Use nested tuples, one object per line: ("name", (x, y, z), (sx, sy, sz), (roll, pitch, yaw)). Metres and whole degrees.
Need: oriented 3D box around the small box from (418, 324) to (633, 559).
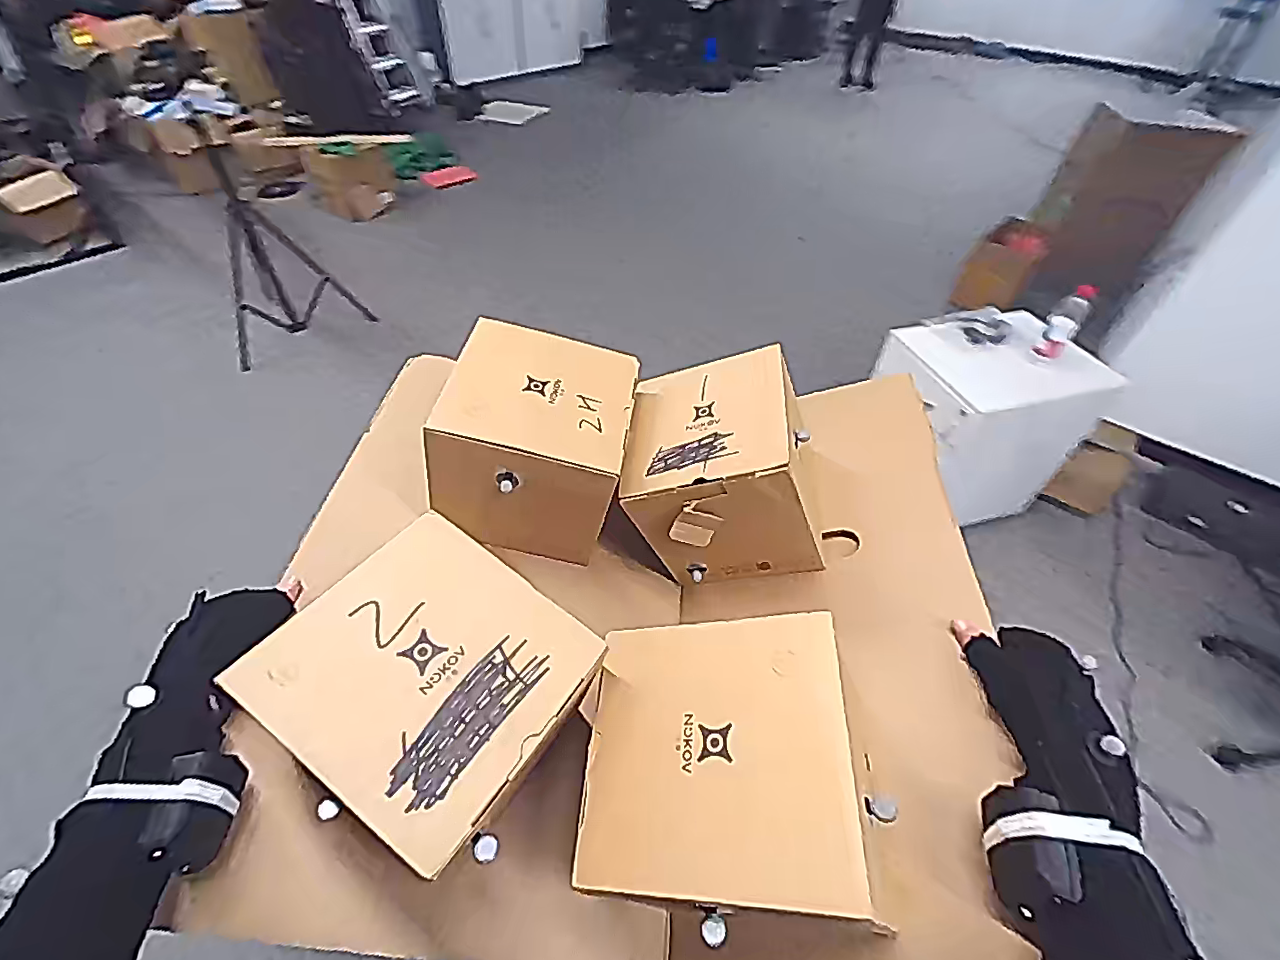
("small box", (-0.118, -0.034, 0.584), (0.179, 0.176, 0.168), (14, 51, -7))
